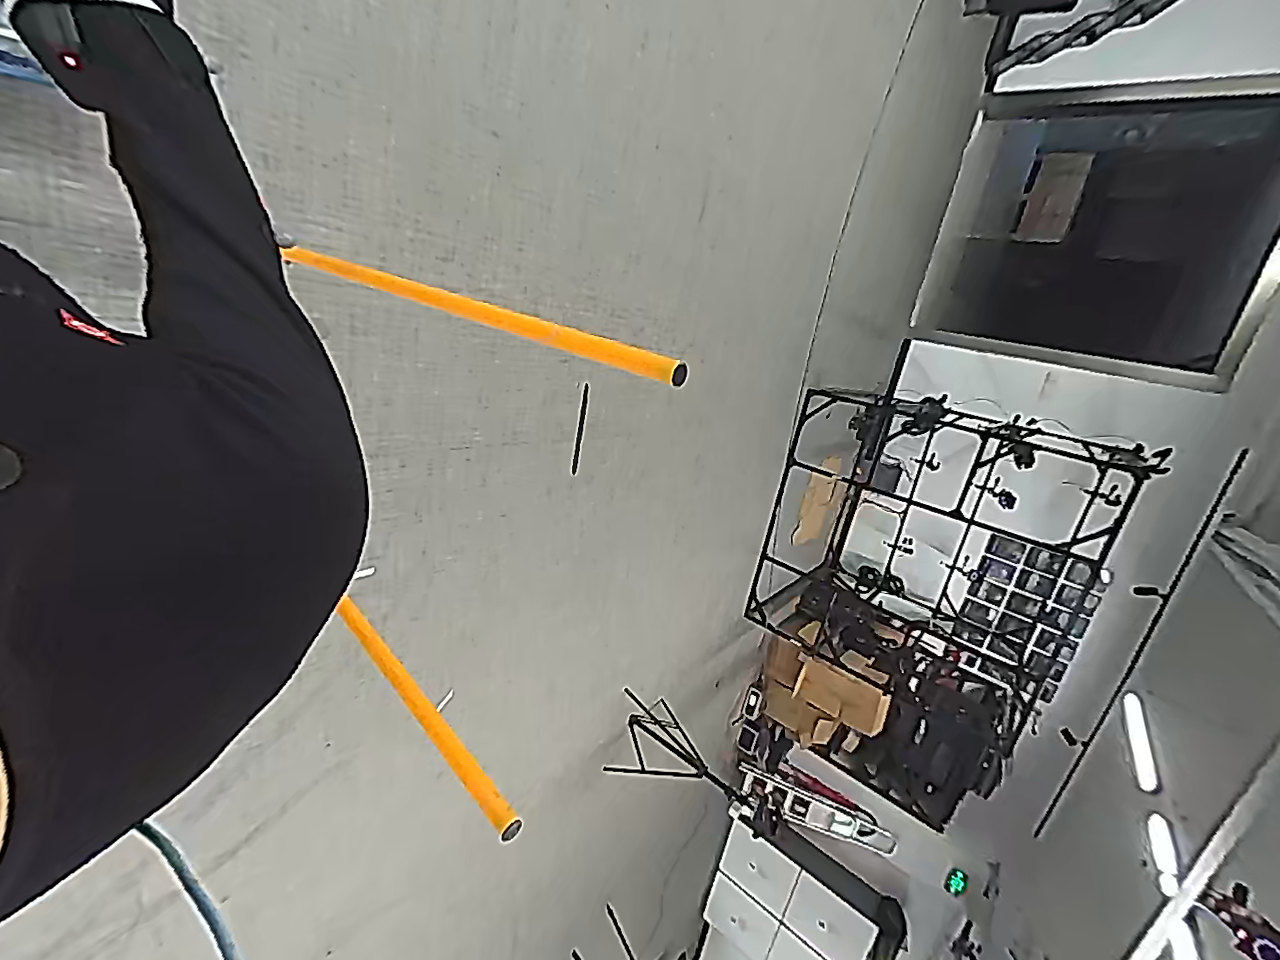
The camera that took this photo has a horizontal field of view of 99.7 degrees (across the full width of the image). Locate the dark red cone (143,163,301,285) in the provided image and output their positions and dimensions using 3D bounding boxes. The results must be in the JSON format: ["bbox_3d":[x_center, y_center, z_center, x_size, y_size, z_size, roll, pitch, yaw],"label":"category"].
[{"bbox_3d":[-0.755,-0.467,1.026,0.201,0.394,0.202,-12,119,-54],"label":"dark red cone"}]
